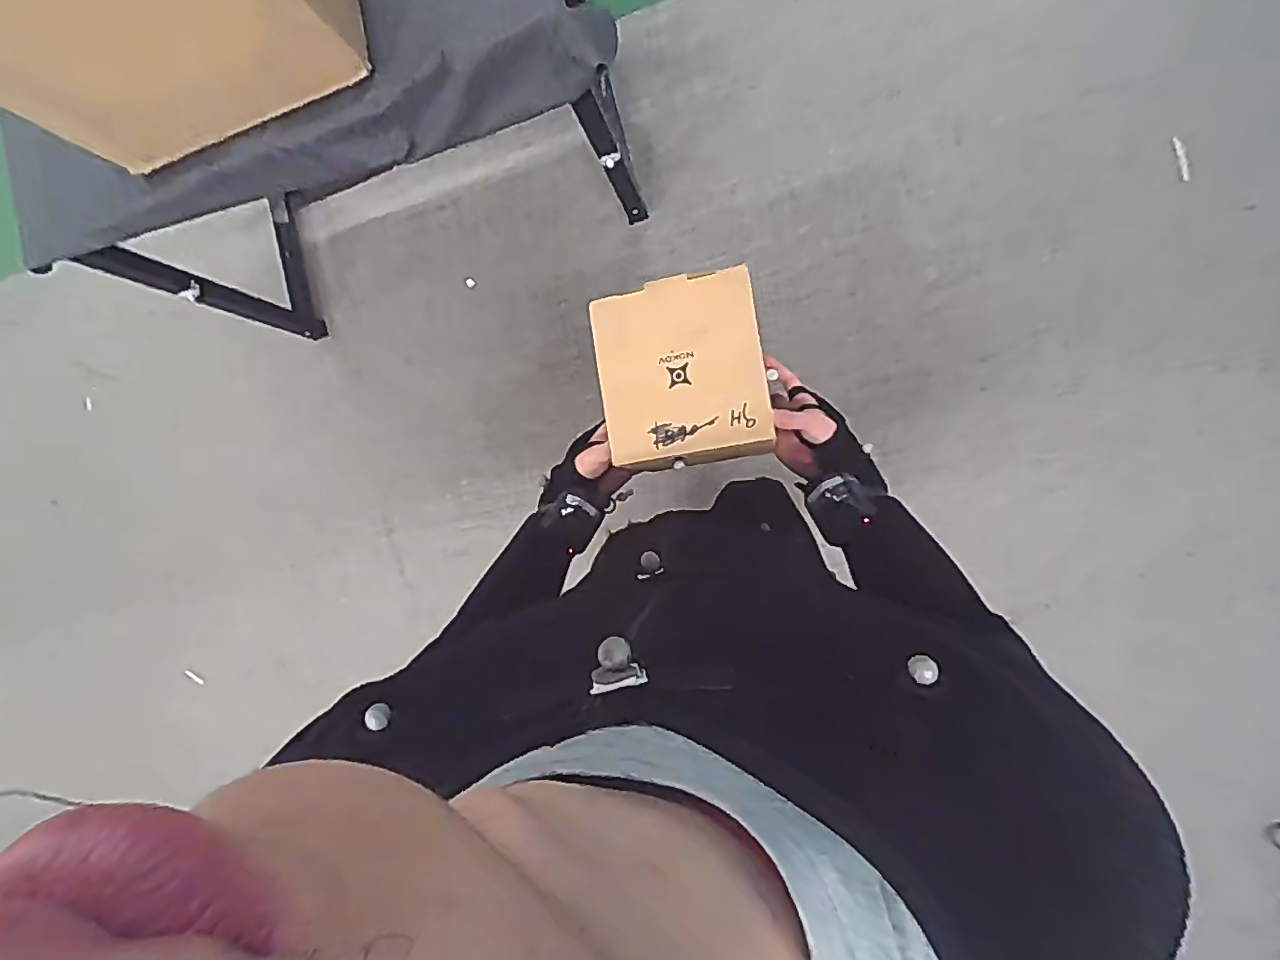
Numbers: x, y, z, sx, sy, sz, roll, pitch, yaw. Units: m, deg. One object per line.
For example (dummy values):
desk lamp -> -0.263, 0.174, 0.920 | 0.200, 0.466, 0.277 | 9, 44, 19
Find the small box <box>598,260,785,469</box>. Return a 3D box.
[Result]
small box -> 0.065, -0.114, 0.613 | 0.168, 0.176, 0.179 | -10, 86, 13
